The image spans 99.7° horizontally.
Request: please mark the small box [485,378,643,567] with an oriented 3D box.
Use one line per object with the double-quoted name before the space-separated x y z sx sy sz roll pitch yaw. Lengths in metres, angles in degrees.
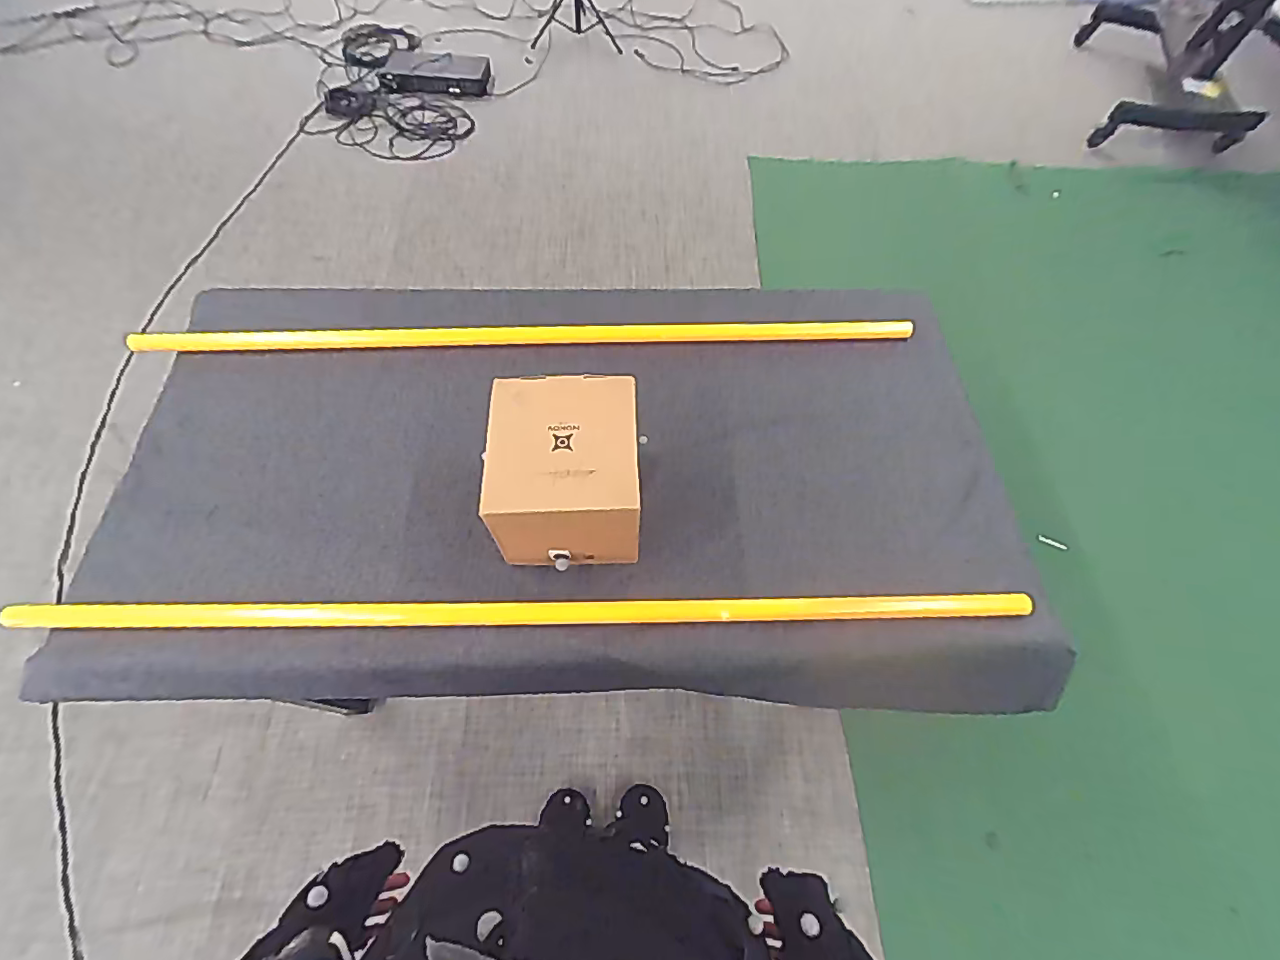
"small box" -0.084 -0.005 0.667 0.168 0.176 0.179 -3 63 -2
